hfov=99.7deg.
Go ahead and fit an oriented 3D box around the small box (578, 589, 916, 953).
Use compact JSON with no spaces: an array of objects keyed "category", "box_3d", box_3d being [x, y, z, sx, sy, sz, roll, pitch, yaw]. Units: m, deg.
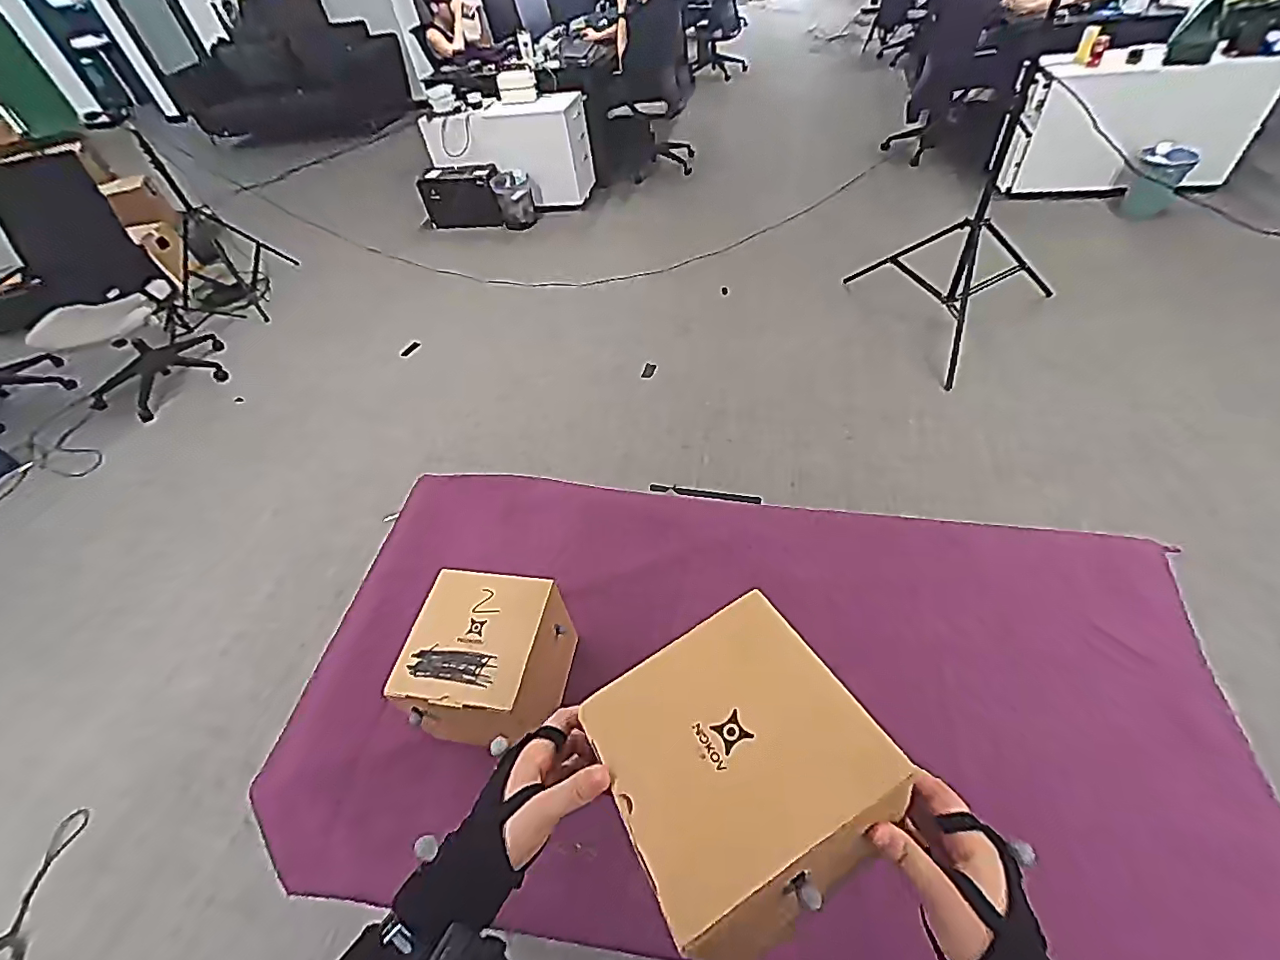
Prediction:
[{"category":"small box","box_3d":[0.082,0.227,0.428,0.179,0.176,0.168,-33,45,-8]}]
